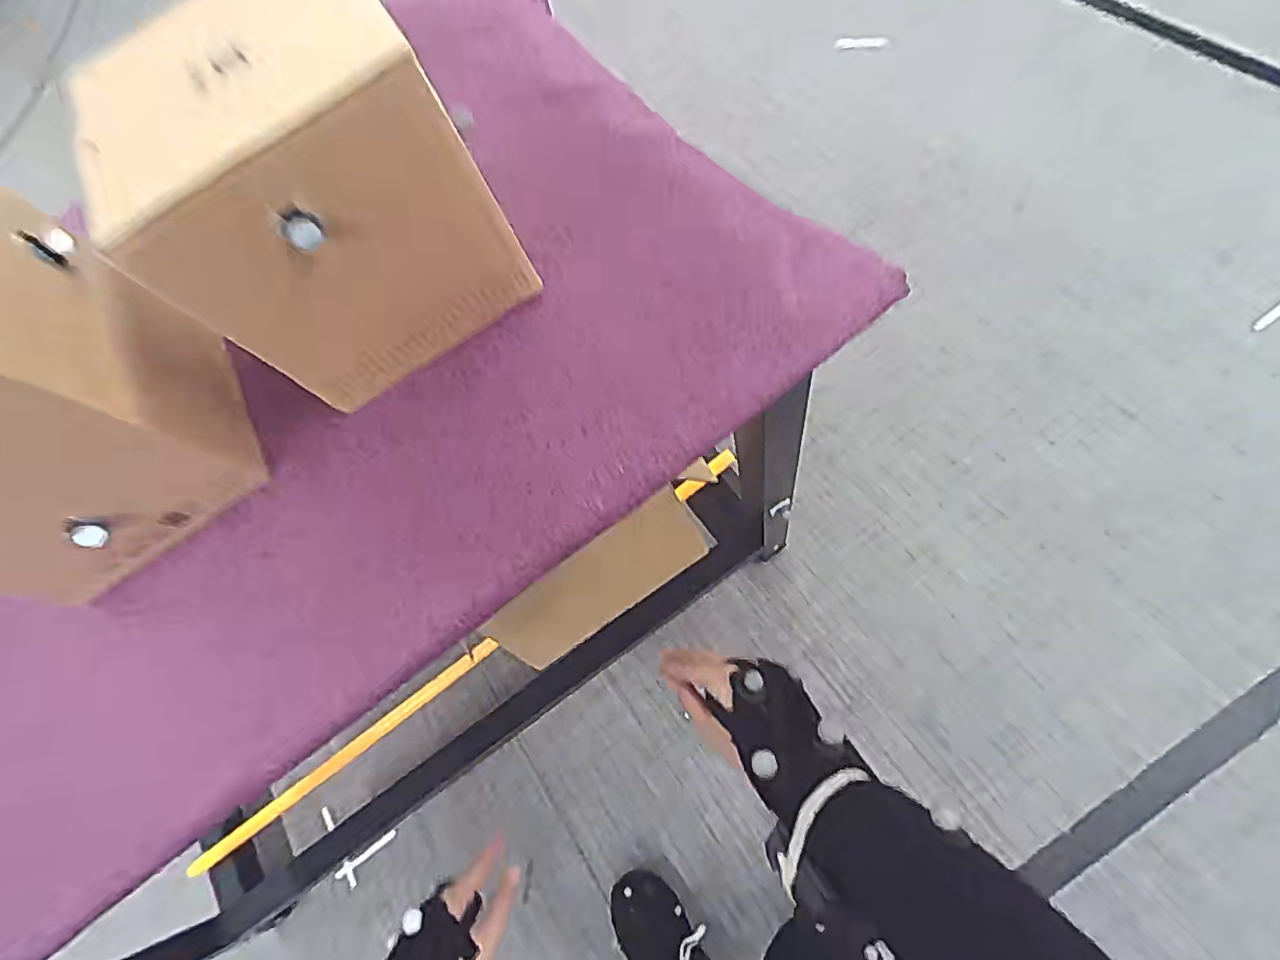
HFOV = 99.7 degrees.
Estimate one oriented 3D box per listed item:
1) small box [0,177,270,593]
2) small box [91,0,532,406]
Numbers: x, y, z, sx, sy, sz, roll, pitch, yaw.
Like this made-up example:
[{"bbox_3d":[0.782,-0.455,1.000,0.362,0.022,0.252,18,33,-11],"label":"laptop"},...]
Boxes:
[{"bbox_3d":[-0.391,-0.048,0.353,0.168,0.176,0.179,-34,67,0],"label":"small box"},{"bbox_3d":[-0.192,-0.183,0.359,0.179,0.176,0.168,-32,66,0],"label":"small box"}]
